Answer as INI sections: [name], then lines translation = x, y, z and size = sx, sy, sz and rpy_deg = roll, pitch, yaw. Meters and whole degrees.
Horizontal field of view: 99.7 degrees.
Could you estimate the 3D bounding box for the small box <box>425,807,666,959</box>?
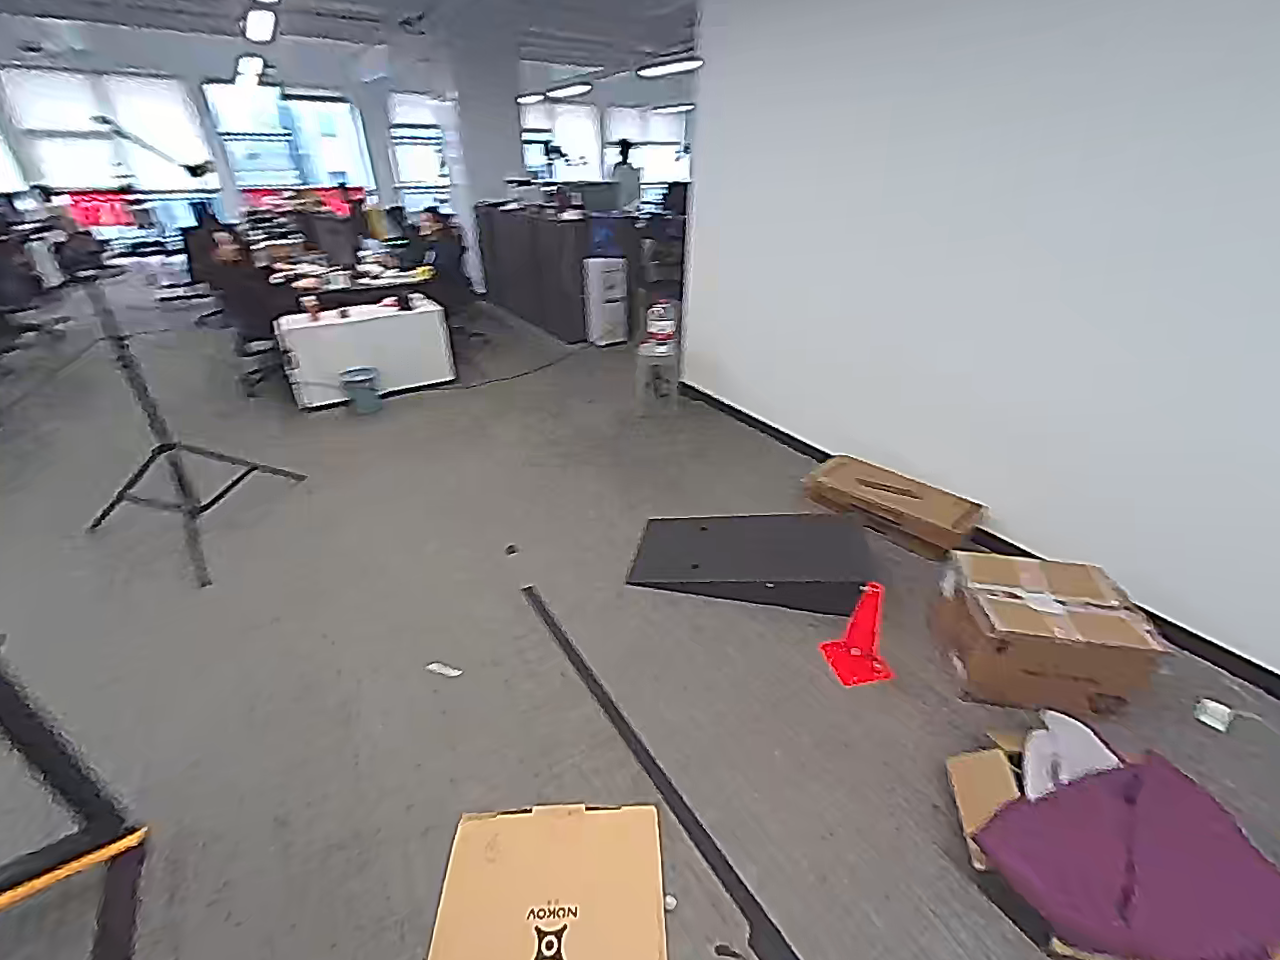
[small box]
translation = -0.067, 0.387, 0.417
size = 0.168, 0.176, 0.179
rpy_deg = -1, 33, -3
